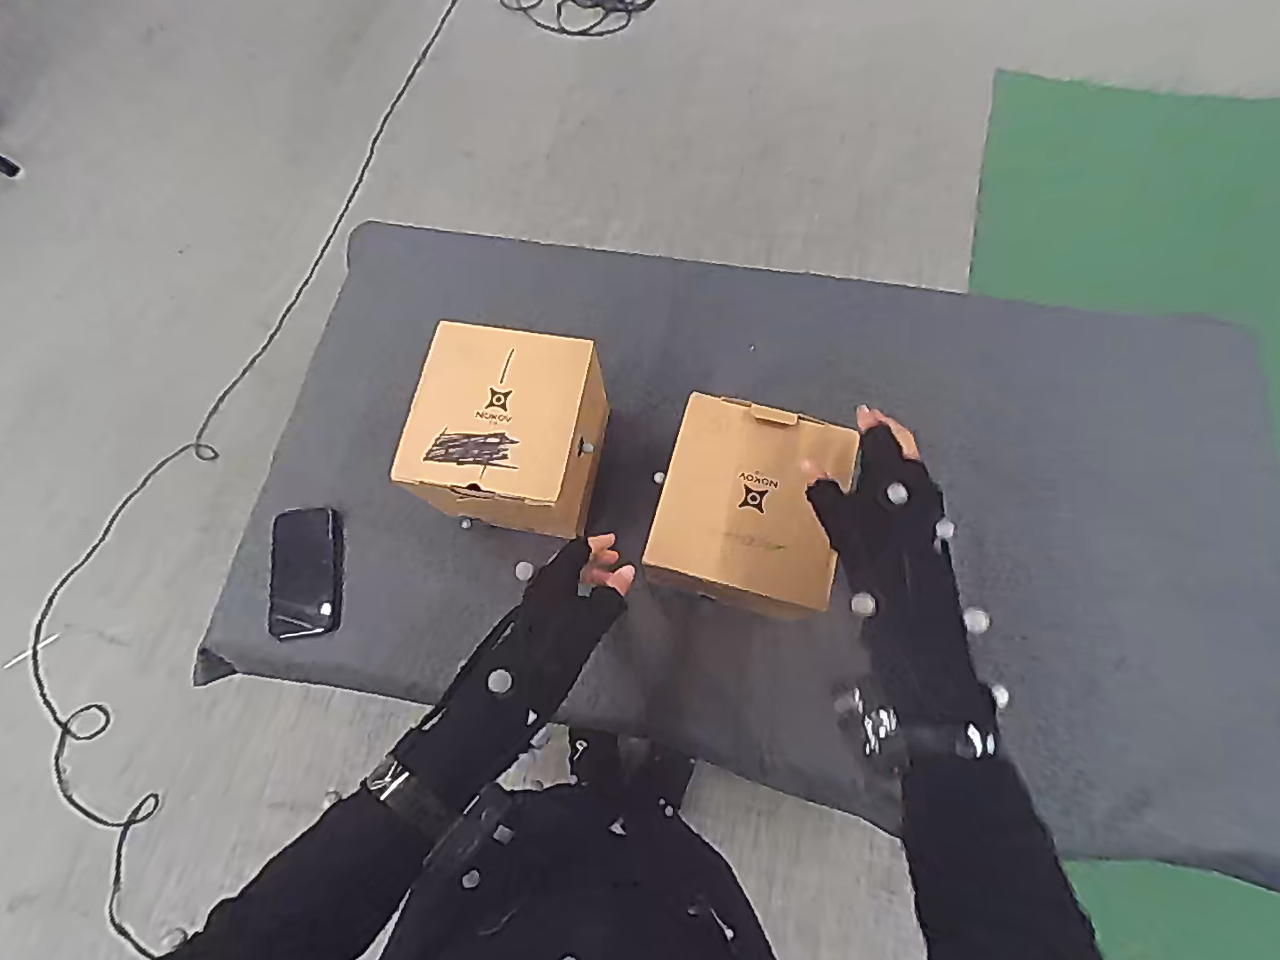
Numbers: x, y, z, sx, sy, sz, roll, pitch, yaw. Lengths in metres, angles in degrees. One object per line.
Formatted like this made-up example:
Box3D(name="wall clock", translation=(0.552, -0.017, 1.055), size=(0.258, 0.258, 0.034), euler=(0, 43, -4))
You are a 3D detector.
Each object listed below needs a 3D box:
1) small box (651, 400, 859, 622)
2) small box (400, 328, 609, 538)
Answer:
Box3D(name="small box", translation=(0.112, 0.043, 0.578), size=(0.168, 0.176, 0.179), euler=(14, 75, 7))
Box3D(name="small box", translation=(-0.134, -0.041, 0.610), size=(0.168, 0.176, 0.179), euler=(9, 72, 4))
